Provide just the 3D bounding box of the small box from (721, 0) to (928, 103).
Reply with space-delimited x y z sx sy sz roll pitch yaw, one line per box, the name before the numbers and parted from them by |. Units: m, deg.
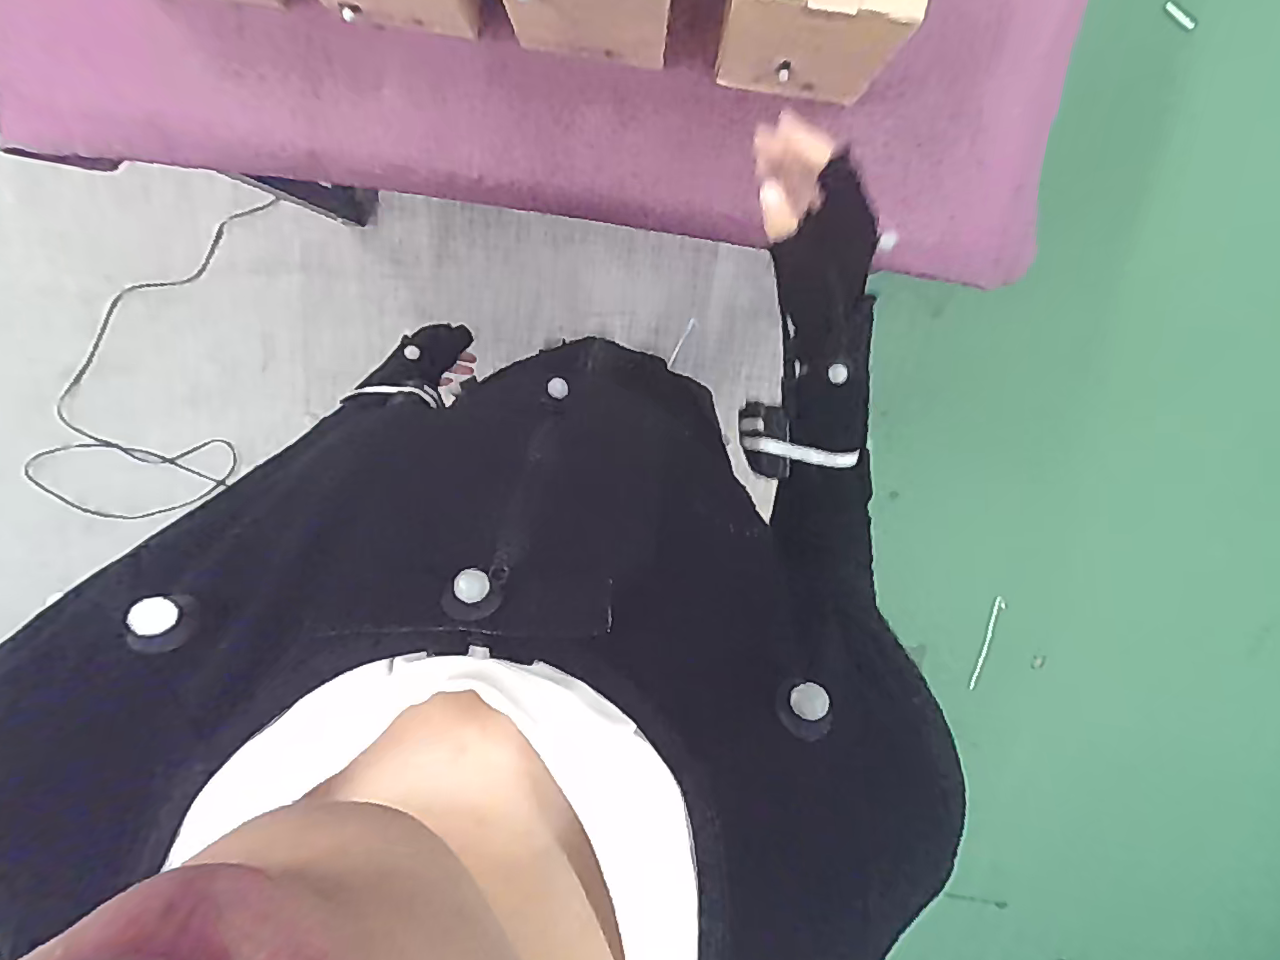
small box | 0.182 -0.517 0.534 0.168 0.176 0.179 8 104 -2
